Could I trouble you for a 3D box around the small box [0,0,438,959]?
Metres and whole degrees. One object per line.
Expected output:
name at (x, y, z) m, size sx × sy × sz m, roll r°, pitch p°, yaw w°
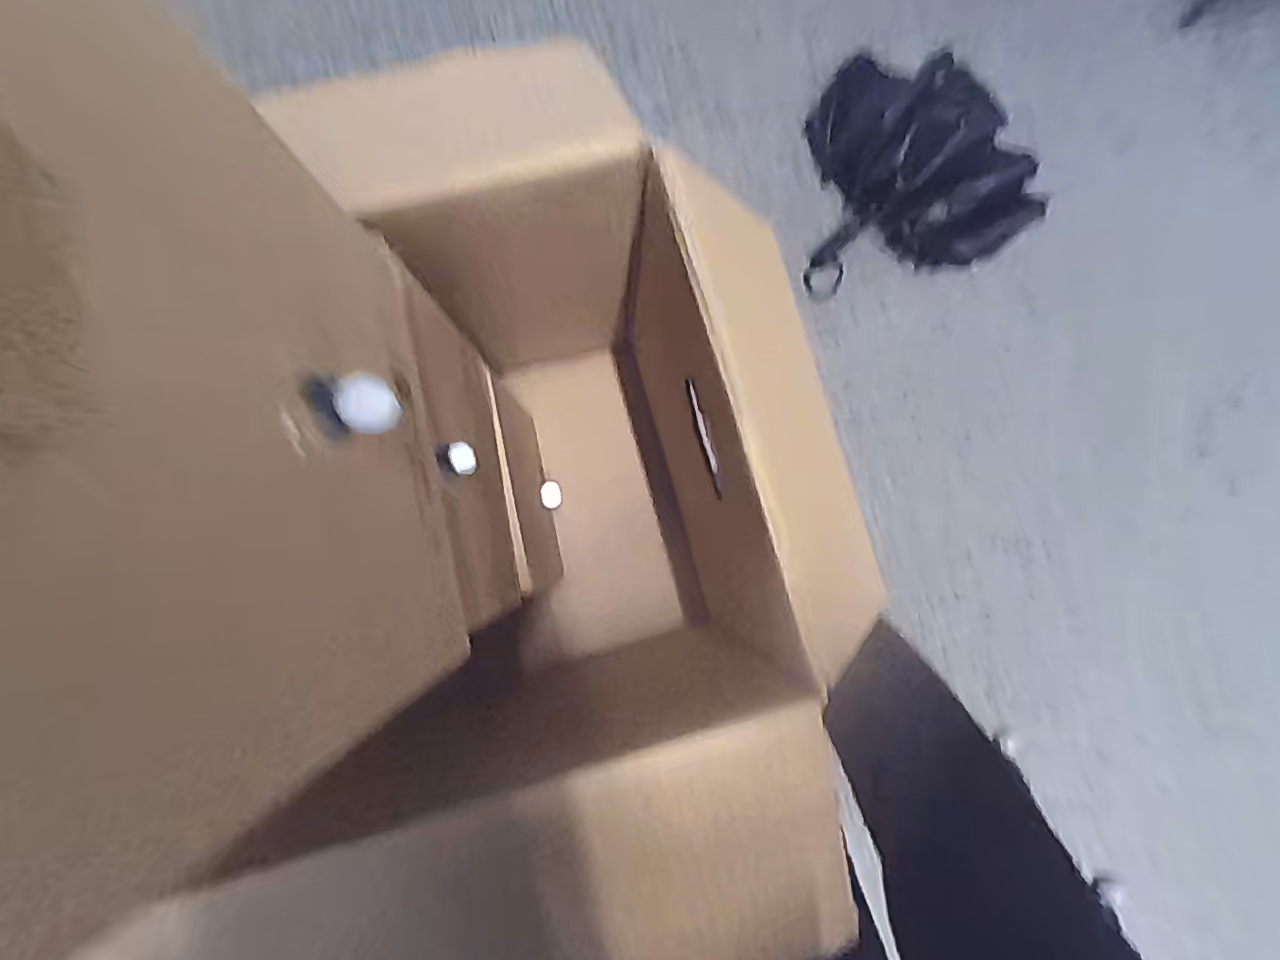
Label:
small box at (-0.165, -0.003, 0.132) m, size 0.179 × 0.176 × 0.168 m, roll -13°, pitch 84°, yaw -3°
